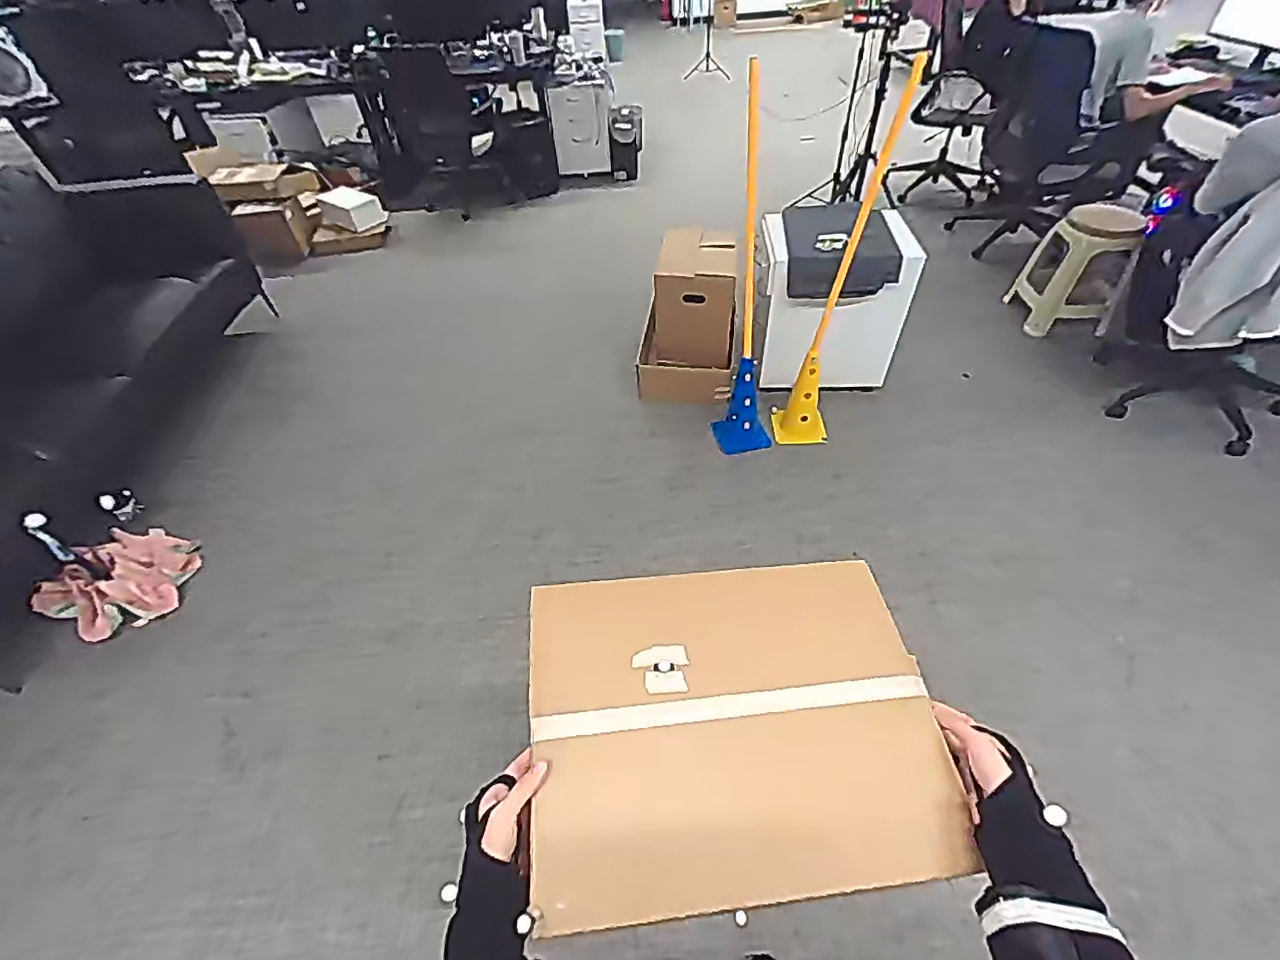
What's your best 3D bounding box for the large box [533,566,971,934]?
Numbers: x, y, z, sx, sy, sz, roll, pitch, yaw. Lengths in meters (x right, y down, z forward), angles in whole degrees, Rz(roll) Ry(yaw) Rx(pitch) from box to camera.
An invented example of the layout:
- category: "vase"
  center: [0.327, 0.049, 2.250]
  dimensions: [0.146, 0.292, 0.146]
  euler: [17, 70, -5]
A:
- category: "large box"
  center: [0.087, 0.331, 0.678]
  dimensions: [0.408, 0.320, 0.320]
  euler: [-4, 52, -5]
